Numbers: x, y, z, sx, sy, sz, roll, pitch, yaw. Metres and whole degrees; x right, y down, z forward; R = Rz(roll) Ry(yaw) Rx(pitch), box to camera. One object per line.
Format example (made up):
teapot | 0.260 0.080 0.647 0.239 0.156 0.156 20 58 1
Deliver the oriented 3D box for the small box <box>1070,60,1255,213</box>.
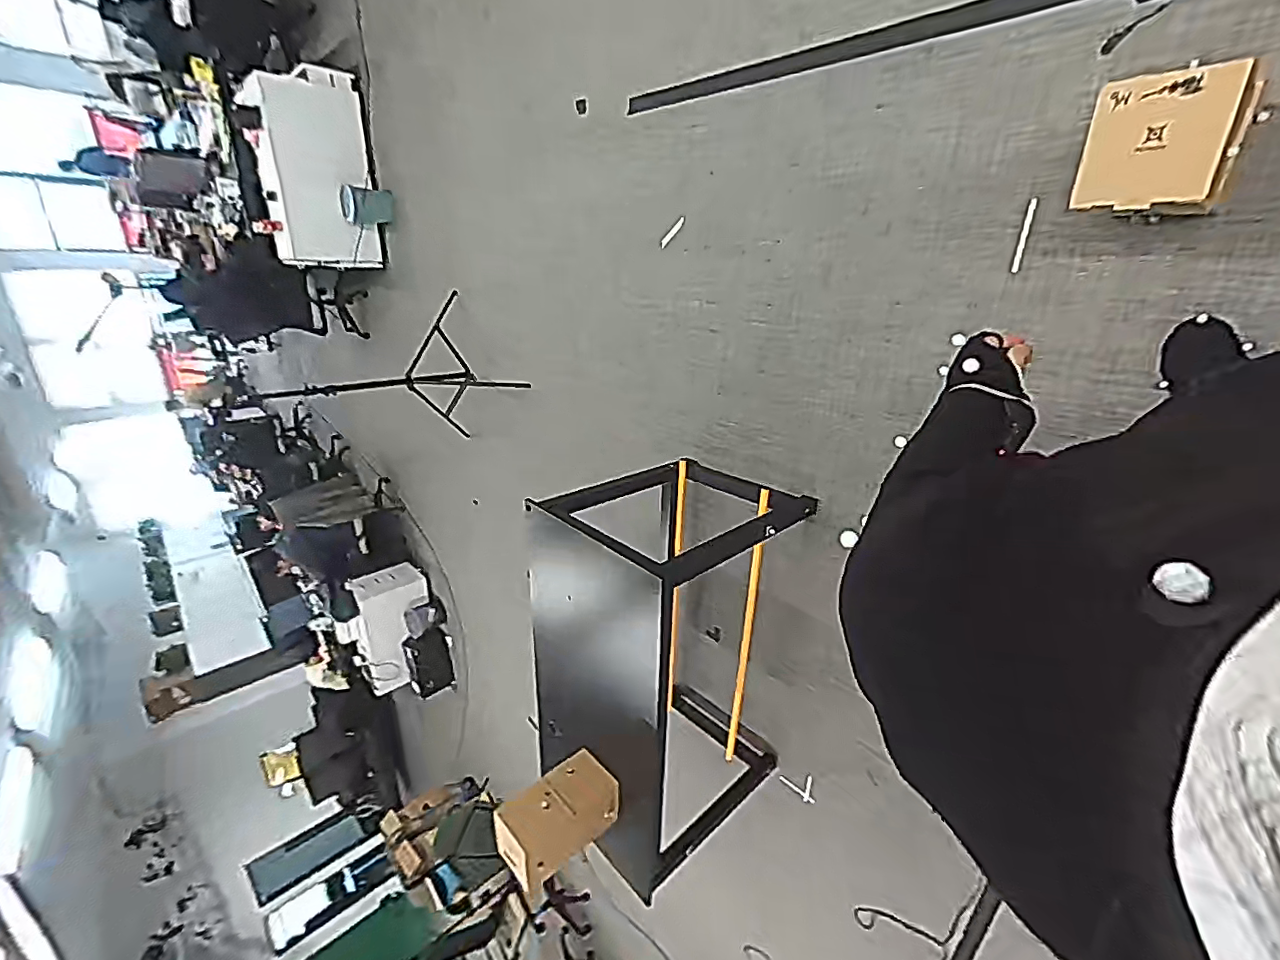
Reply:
small box | 0.823 -0.523 0.853 0.168 0.176 0.179 23 121 43

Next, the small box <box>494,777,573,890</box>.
small box | -0.306 1.023 1.577 0.168 0.176 0.179 22 119 43

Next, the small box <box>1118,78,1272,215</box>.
small box | 0.948 -0.570 0.949 0.168 0.176 0.179 25 122 42

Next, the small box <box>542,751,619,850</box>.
small box | -0.185 0.984 1.683 0.179 0.176 0.168 23 121 42
